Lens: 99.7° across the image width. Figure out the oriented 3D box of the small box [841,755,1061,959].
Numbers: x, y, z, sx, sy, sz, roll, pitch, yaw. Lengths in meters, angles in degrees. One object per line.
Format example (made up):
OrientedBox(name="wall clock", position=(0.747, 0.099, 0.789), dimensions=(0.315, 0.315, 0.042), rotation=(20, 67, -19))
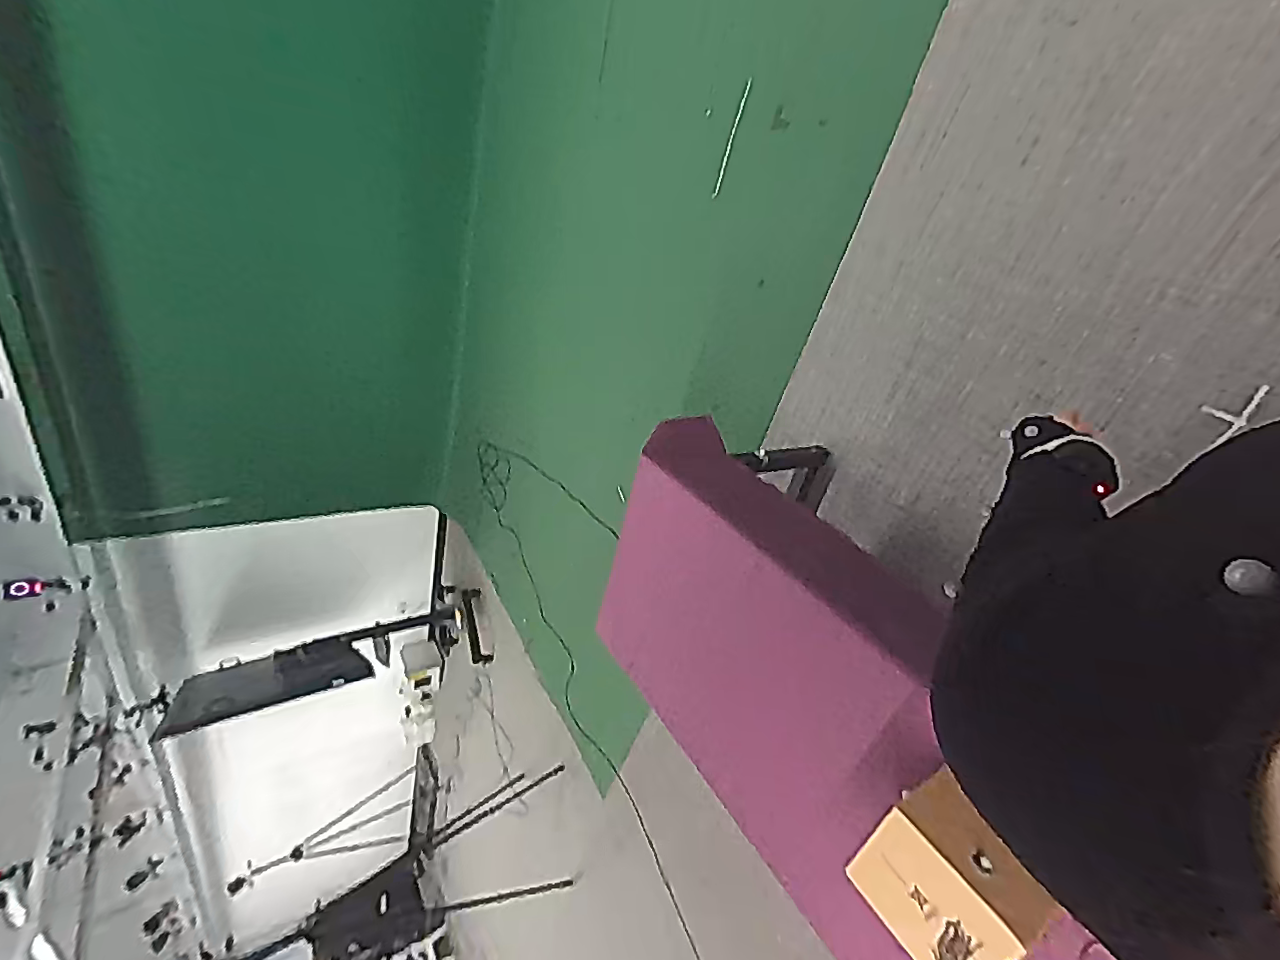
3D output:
OrientedBox(name="small box", position=(0.424, 0.525, 0.744), dimensions=(0.179, 0.176, 0.168), rotation=(44, 128, 42))
